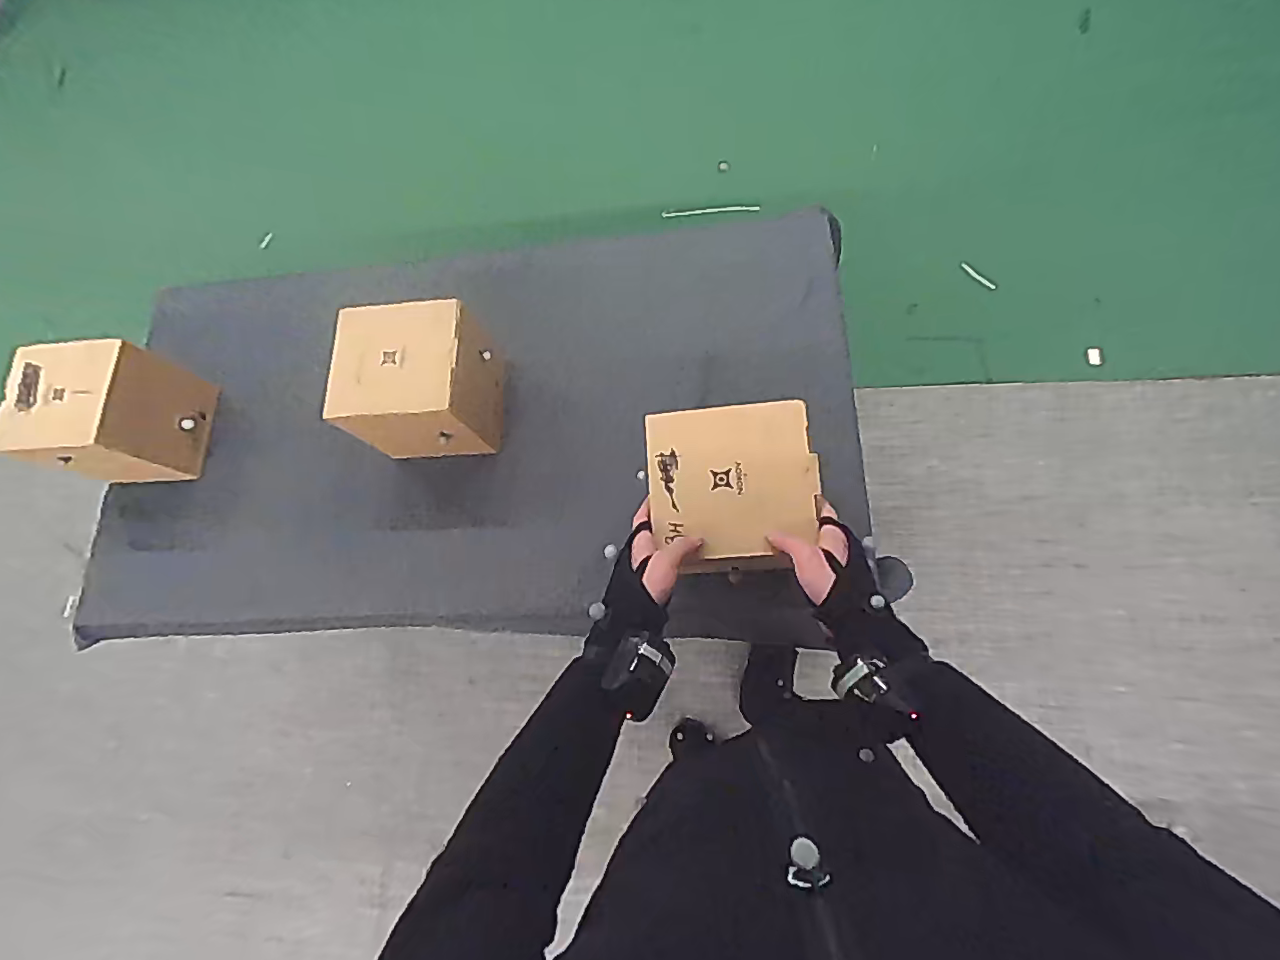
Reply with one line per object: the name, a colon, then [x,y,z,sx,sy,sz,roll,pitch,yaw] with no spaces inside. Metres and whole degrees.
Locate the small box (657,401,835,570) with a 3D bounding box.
small box: [0.114,0.016,0.639,0.179,0.176,0.168,-3,76,6]

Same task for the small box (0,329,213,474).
small box: [-0.808,-0.109,0.815,0.179,0.176,0.168,-1,75,5]

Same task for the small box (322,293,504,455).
small box: [-0.306,-0.140,0.769,0.179,0.176,0.168,-3,73,7]
